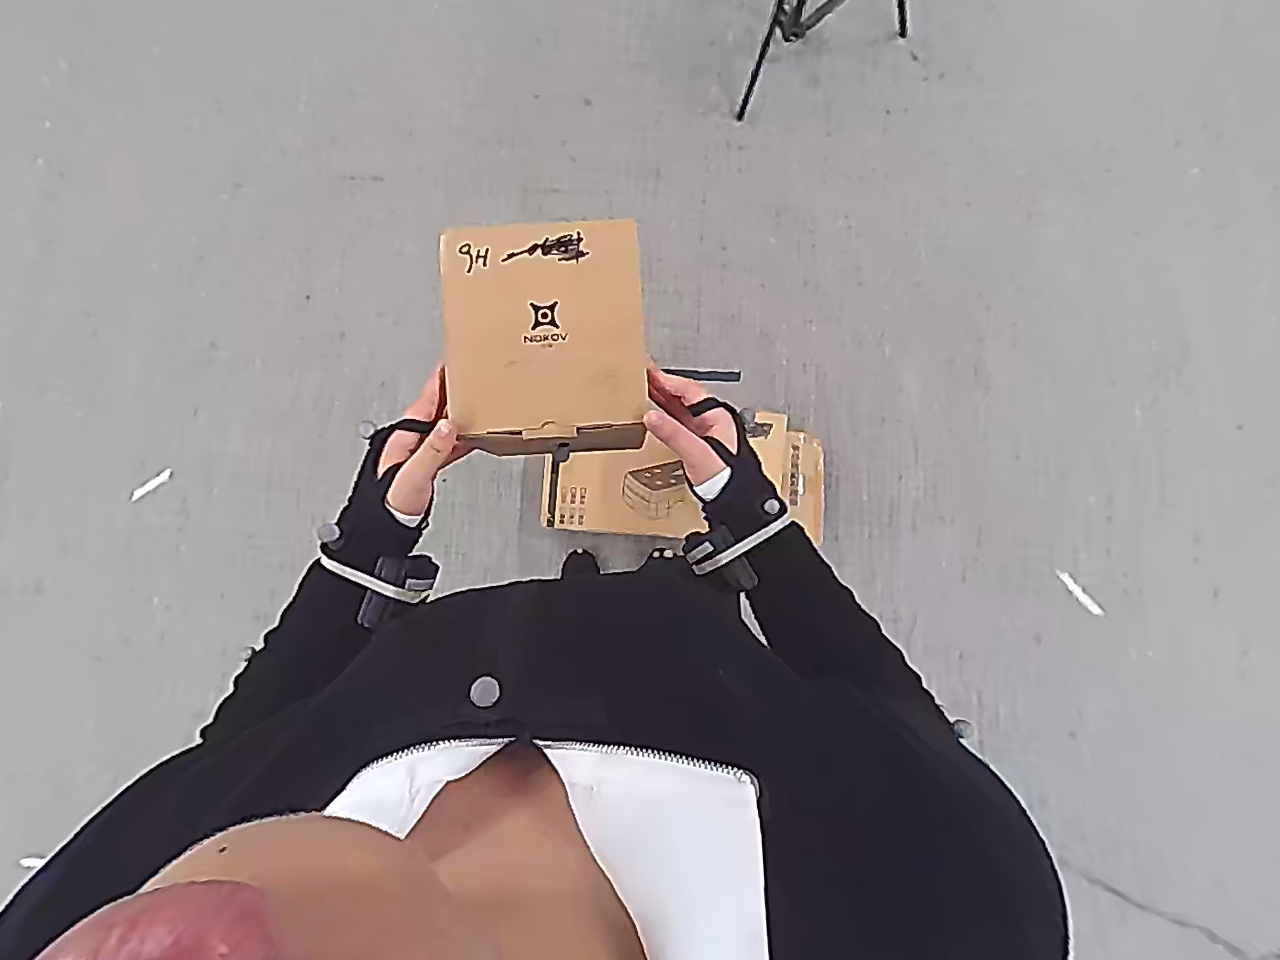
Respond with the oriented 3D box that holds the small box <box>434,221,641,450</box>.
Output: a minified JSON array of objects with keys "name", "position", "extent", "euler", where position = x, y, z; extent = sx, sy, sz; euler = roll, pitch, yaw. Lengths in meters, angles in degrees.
[{"name":"small box","position":[-0.085,-0.122,0.525],"extent":[0.168,0.176,0.179],"euler":[-4,88,-2]}]

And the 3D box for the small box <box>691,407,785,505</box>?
[{"name":"small box","position":[0.206,-0.046,1.178],"extent":[0.168,0.176,0.179],"euler":[7,83,1]}]

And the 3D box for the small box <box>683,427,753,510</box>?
[{"name":"small box","position":[0.197,-0.024,1.341],"extent":[0.168,0.176,0.179],"euler":[3,83,1]}]
